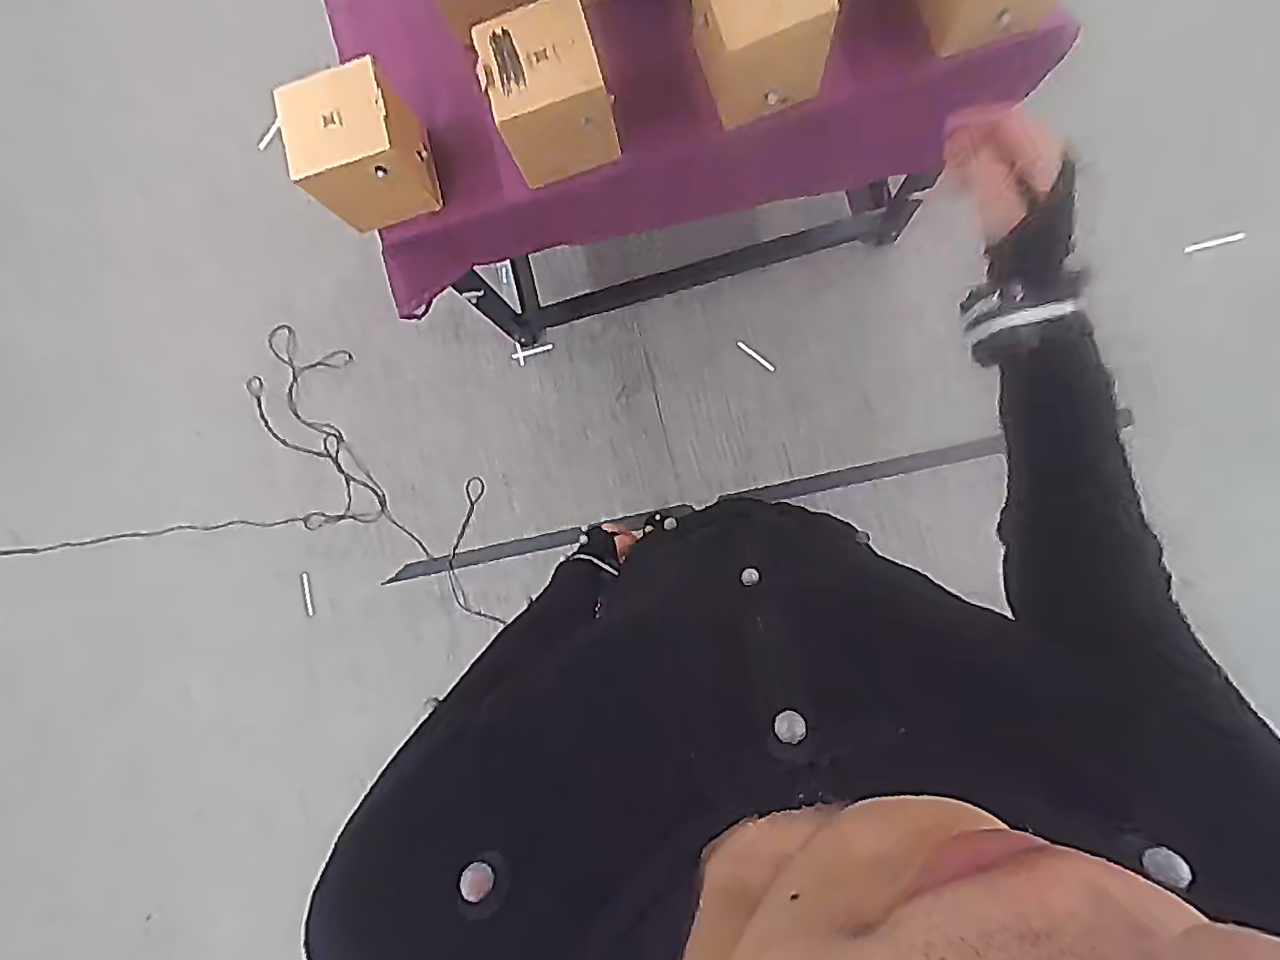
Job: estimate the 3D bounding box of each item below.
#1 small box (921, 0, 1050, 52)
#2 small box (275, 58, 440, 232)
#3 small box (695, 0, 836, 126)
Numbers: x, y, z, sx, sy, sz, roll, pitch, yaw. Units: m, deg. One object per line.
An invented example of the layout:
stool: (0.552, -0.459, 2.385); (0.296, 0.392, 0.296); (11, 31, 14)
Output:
small box: (0.531, -0.804, 0.808); (0.168, 0.176, 0.179); (-13, 85, 8)
small box: (-0.477, -0.560, 0.932); (0.179, 0.176, 0.168); (-15, 84, 5)
small box: (0.185, -0.714, 0.851); (0.168, 0.176, 0.179); (-18, 85, 7)
